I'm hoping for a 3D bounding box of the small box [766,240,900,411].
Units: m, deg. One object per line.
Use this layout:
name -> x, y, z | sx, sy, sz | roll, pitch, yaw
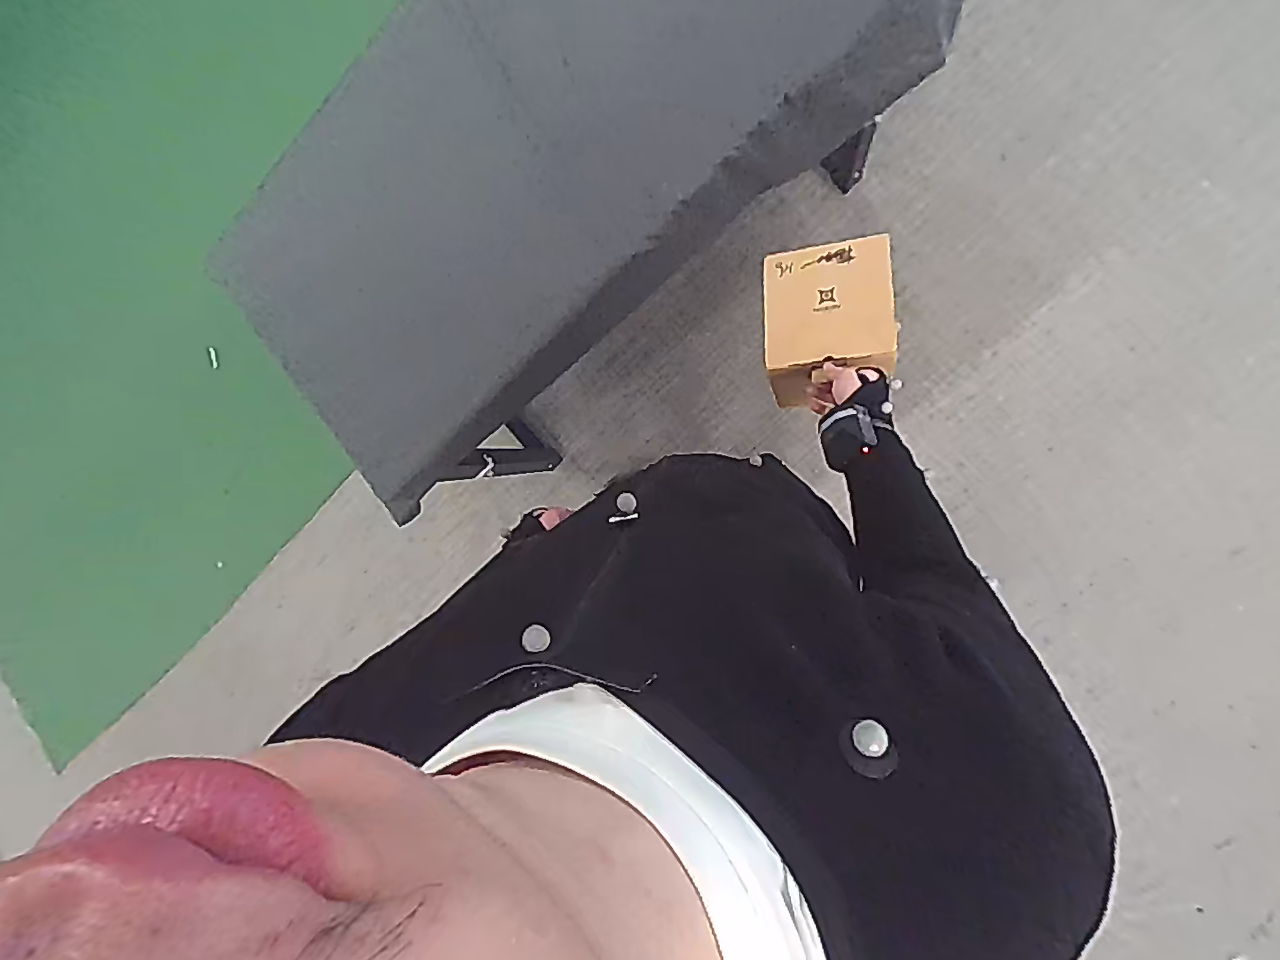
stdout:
small box -> 0.290, -0.213, 0.807 | 0.168, 0.176, 0.179 | -6, 71, 22
